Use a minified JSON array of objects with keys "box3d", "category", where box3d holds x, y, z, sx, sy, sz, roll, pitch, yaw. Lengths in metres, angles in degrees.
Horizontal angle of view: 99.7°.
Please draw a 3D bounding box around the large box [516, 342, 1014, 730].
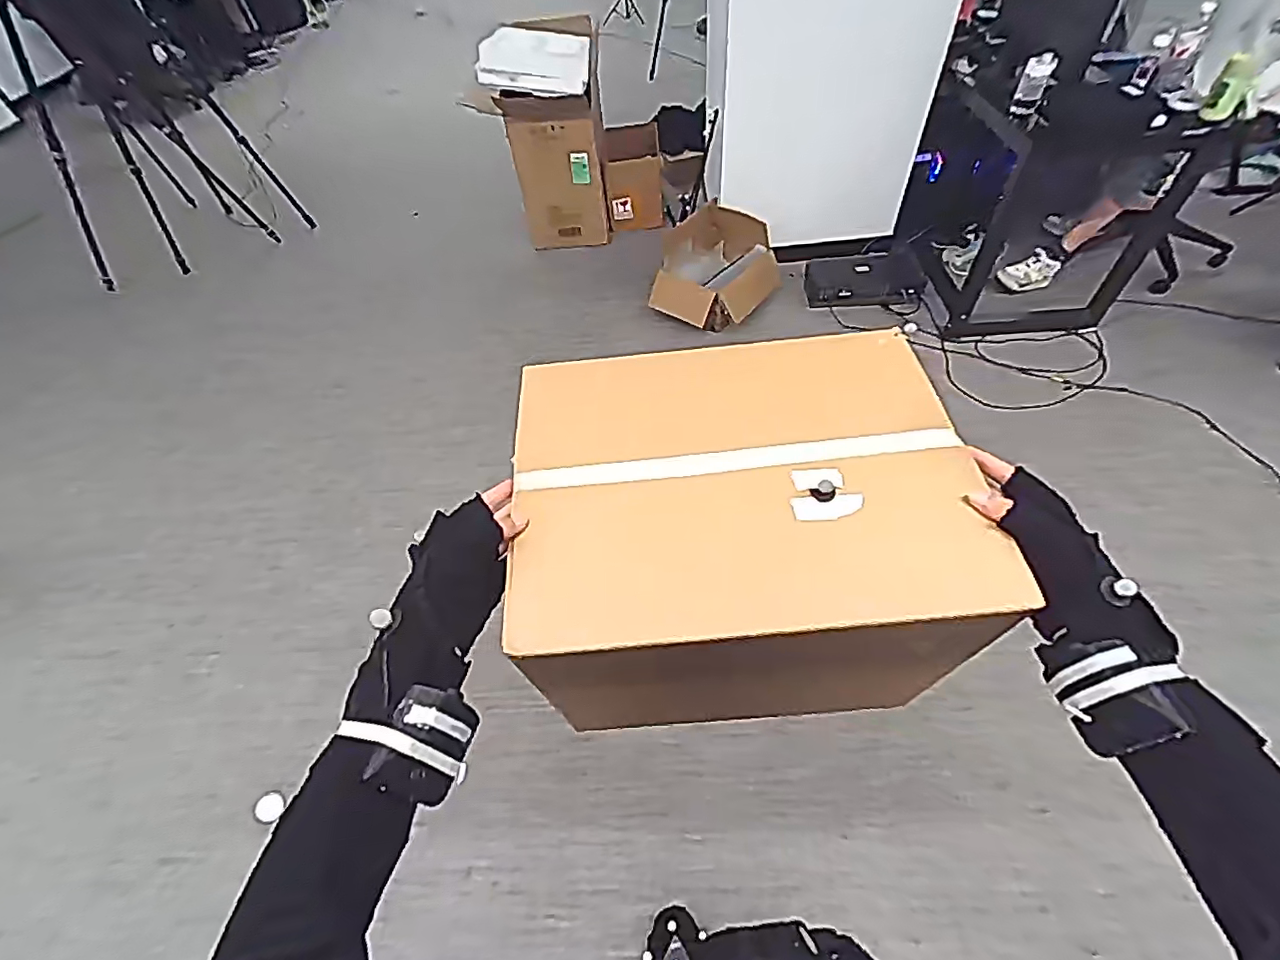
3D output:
[{"box3d":[0.094,0.078,0.628,0.408,0.320,0.320,-6,55,1],"category":"large box"}]
